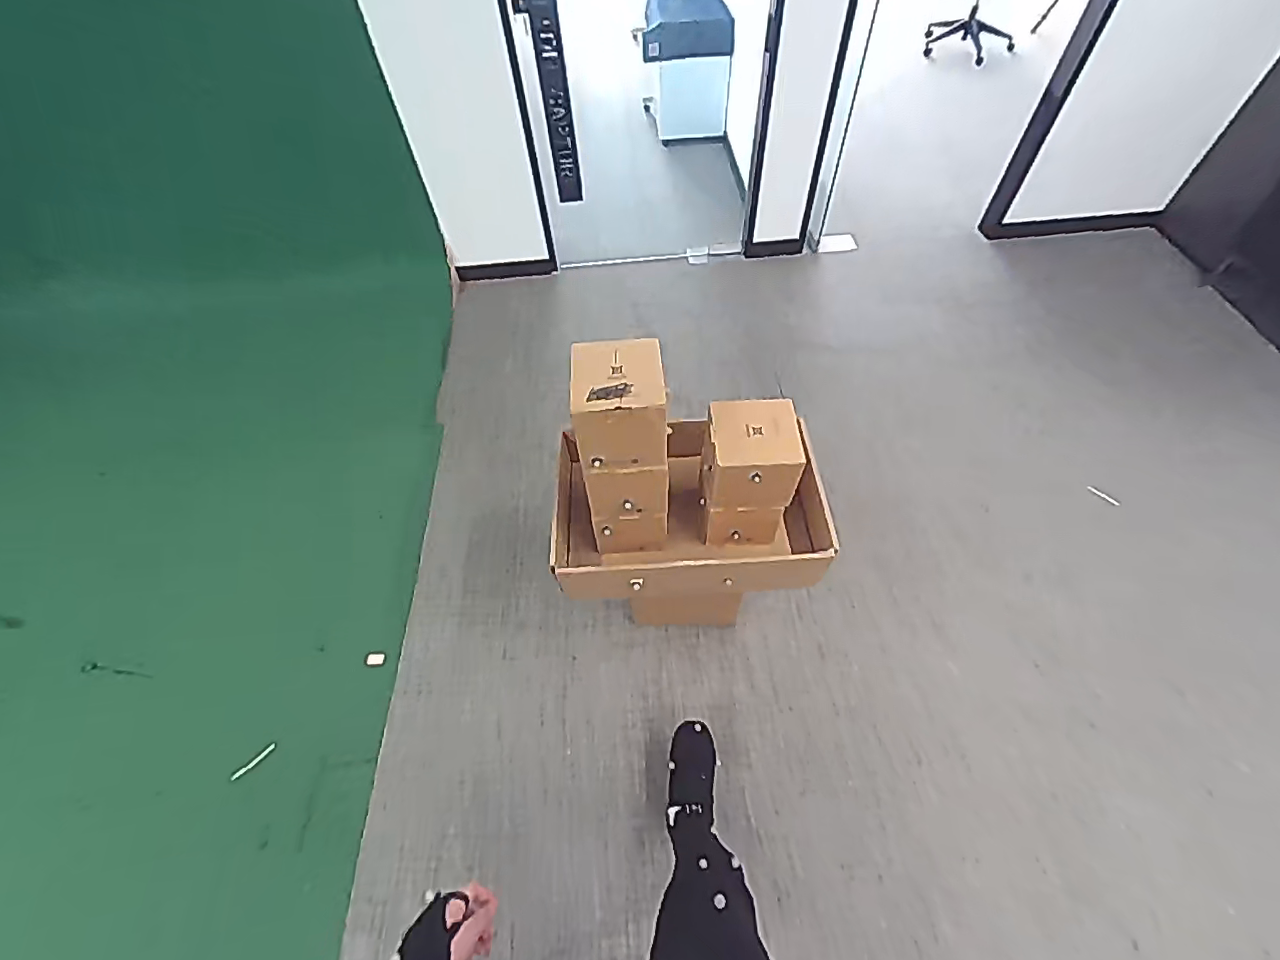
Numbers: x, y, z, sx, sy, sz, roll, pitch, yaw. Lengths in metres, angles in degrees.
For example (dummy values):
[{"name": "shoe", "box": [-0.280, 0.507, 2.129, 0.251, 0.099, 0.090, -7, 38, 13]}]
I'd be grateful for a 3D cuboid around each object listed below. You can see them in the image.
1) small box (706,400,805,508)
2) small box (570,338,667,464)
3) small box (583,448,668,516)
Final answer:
[{"name": "small box", "box": [0.232, -0.051, 1.144, 0.179, 0.176, 0.168, -1, 57, 0]}, {"name": "small box", "box": [-0.037, -0.140, 1.012, 0.168, 0.176, 0.179, -4, 54, -1]}, {"name": "small box", "box": [-0.029, -0.041, 1.142, 0.168, 0.176, 0.179, -3, 55, 0]}]
